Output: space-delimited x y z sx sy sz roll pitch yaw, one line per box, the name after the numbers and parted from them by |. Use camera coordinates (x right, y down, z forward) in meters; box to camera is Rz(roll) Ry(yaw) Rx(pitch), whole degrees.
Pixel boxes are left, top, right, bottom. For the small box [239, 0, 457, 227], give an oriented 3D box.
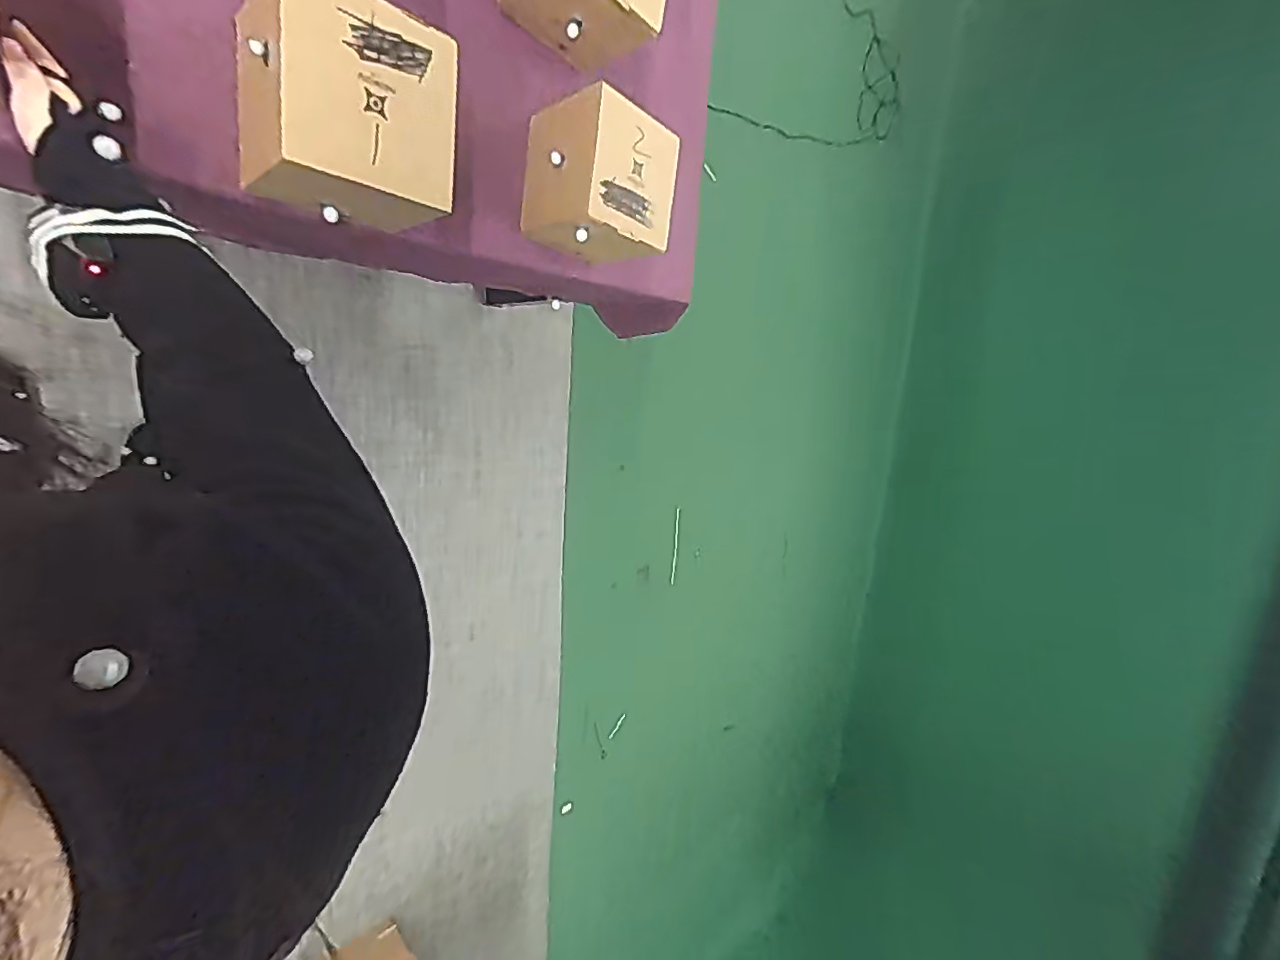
-0.315 -0.394 0.581 0.168 0.176 0.179 -4 104 -45 | small box

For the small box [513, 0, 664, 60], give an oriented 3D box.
-0.072 -0.733 0.745 0.168 0.176 0.179 2 100 -47 | small box
